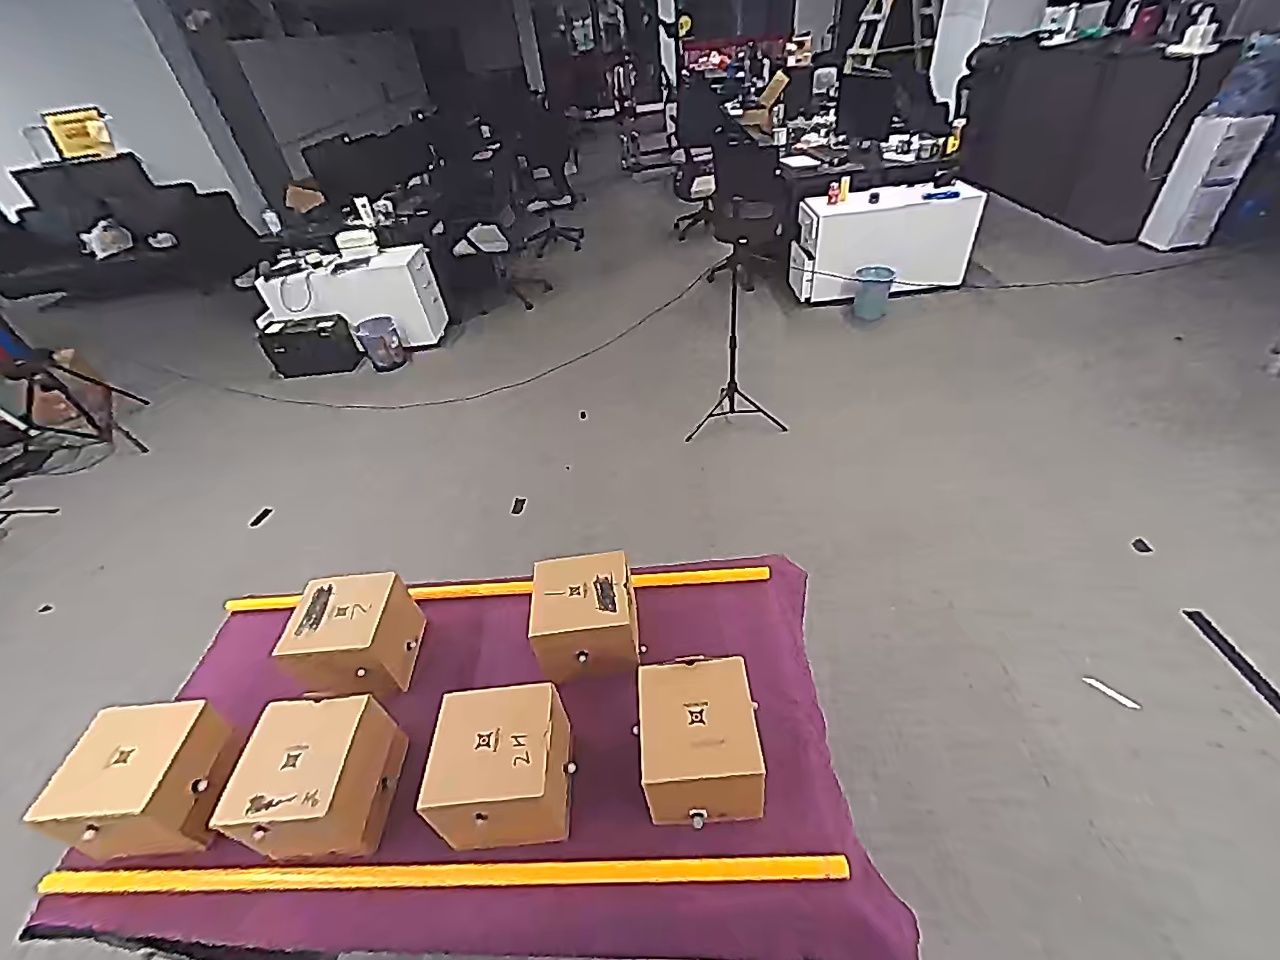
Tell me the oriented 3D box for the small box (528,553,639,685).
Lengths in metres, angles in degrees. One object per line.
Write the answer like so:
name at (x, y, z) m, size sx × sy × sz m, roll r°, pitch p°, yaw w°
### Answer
small box at (-0.095, 0.261, 1.006) m, size 0.179 × 0.176 × 0.168 m, roll -8°, pitch 41°, yaw 2°

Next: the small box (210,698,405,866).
small box at (-0.490, 0.465, 0.834) m, size 0.168 × 0.176 × 0.179 m, roll -7°, pitch 40°, yaw 4°

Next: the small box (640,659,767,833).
small box at (0.091, 0.398, 0.812) m, size 0.168 × 0.176 × 0.179 m, roll -7°, pitch 38°, yaw 4°

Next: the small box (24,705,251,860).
small box at (-0.769, 0.482, 0.861) m, size 0.179 × 0.176 × 0.168 m, roll -6°, pitch 40°, yaw 1°

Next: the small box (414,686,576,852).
small box at (-0.204, 0.438, 0.816) m, size 0.179 × 0.176 × 0.168 m, roll -7°, pitch 39°, yaw 3°
